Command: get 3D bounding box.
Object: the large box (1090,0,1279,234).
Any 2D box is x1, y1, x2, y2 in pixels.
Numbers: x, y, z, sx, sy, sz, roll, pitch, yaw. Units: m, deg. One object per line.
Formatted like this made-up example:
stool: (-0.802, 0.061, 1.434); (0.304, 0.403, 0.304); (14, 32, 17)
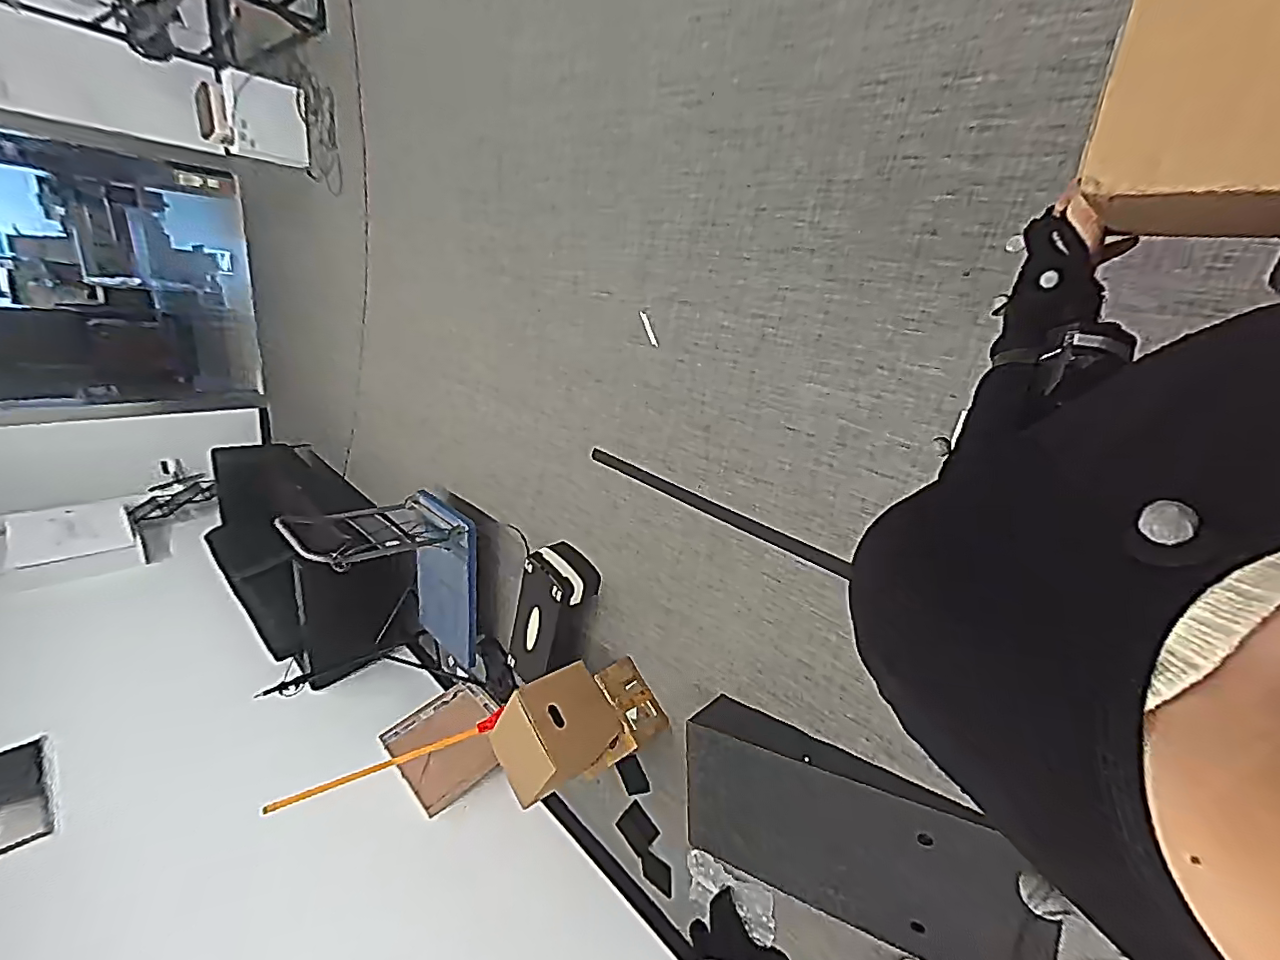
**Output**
large box: (0.465, -0.273, 0.198); (0.408, 0.320, 0.320); (19, 118, 36)
